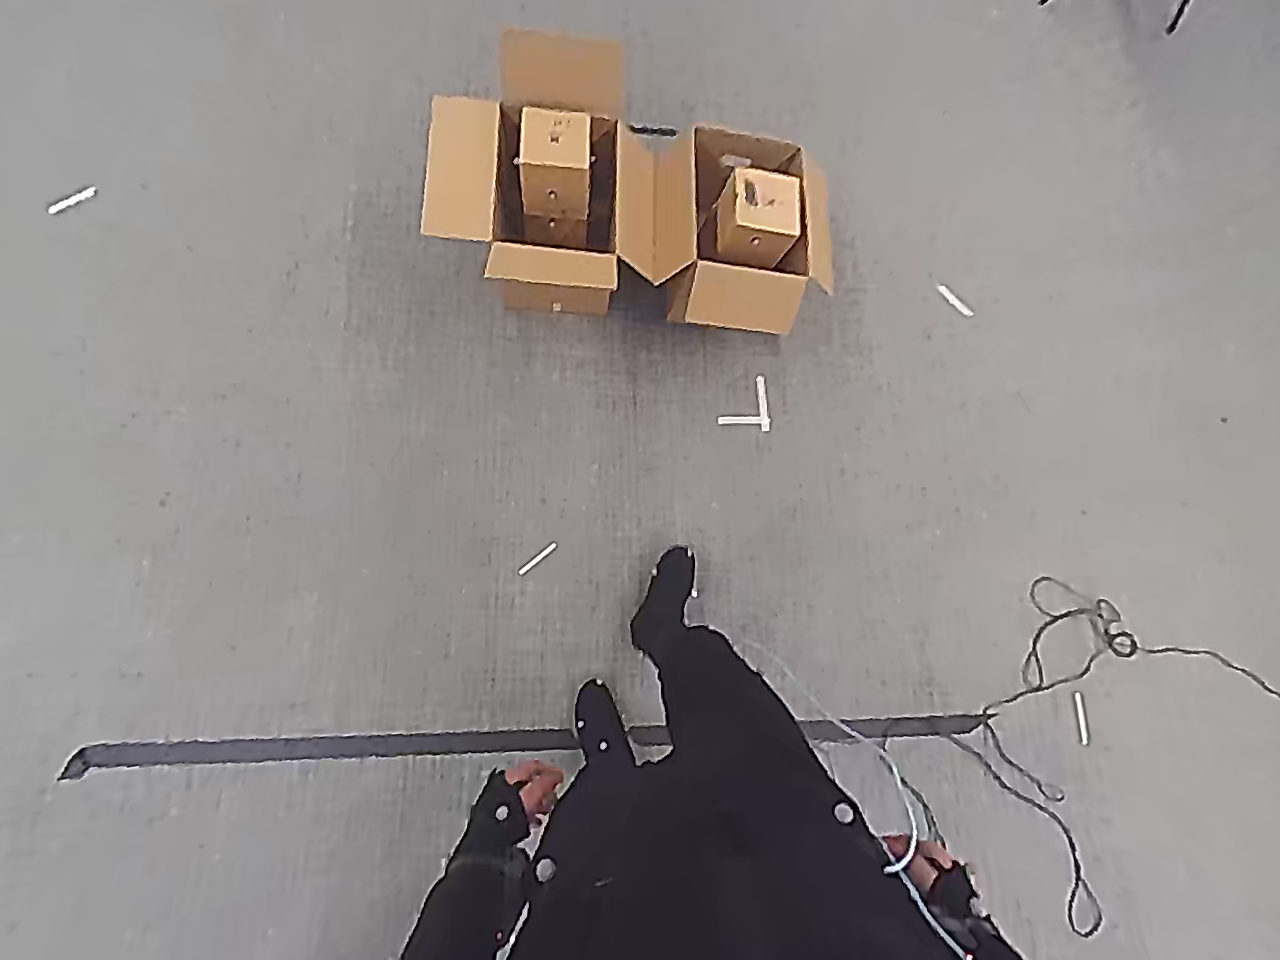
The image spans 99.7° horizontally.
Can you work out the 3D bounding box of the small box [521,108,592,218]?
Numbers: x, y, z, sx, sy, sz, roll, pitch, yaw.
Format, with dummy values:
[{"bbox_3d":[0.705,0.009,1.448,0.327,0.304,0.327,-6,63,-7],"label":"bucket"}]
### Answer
[{"bbox_3d":[-0.208,-0.798,1.375,0.168,0.176,0.179,2,73,-8],"label":"small box"}]
